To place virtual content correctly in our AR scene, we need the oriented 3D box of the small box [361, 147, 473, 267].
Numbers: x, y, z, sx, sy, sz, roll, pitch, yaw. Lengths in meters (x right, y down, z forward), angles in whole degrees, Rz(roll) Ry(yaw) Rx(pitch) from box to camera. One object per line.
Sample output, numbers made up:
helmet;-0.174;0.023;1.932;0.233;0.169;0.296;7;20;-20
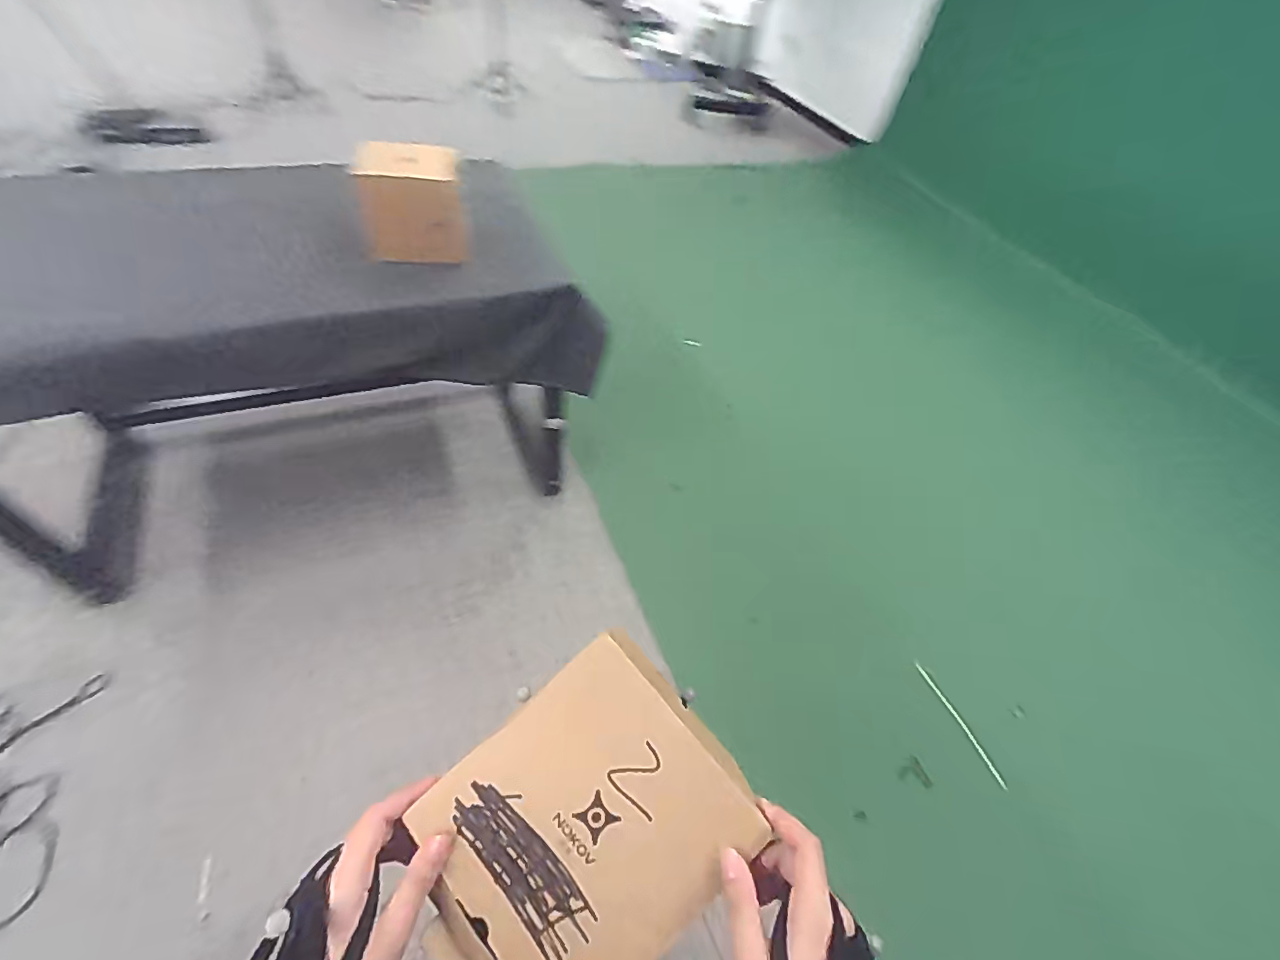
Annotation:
small box;-0.440;-0.550;1.100;0.179;0.176;0.168;-3;50;-10
